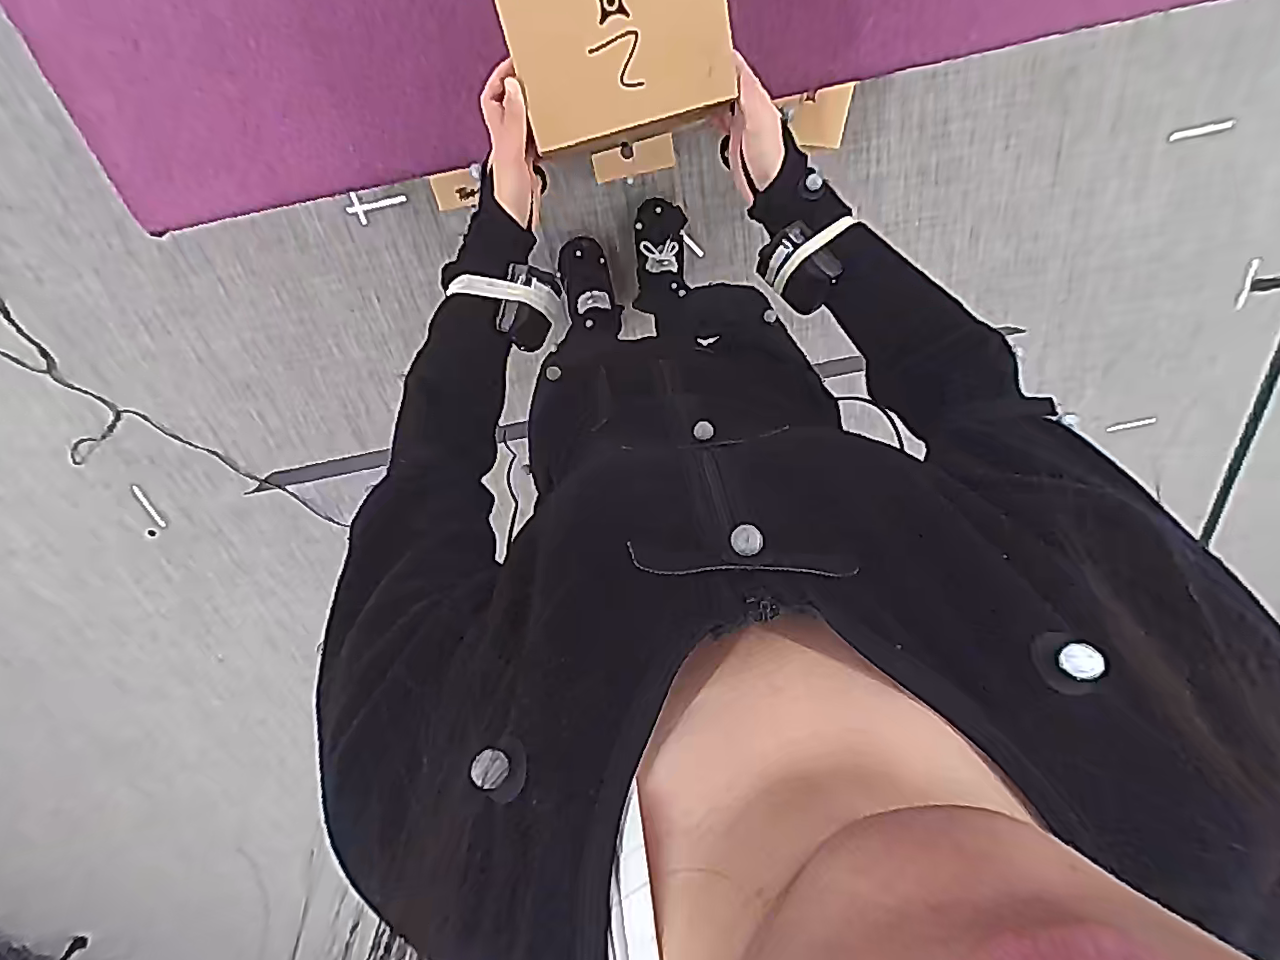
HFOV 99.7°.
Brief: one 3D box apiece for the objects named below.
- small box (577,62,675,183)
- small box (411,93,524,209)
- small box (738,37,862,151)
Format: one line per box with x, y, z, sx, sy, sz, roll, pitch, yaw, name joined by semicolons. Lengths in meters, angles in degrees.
-0.032;-0.724;1.112;0.168;0.176;0.179;-12;121;1;small box
-0.343;-0.665;1.111;0.168;0.176;0.179;-11;118;-1;small box
0.320;-0.786;1.118;0.179;0.176;0.168;3;119;-7;small box
